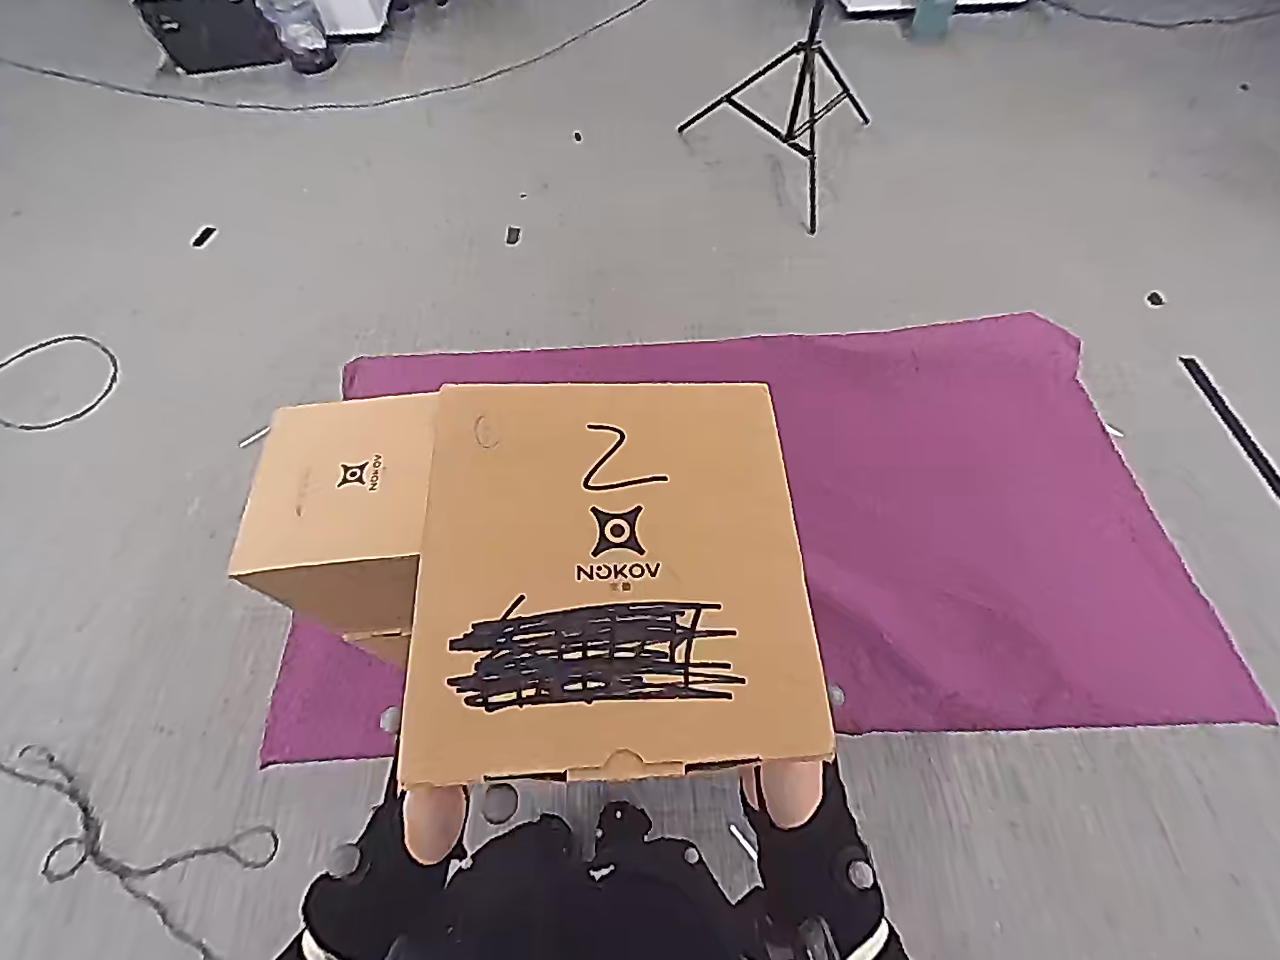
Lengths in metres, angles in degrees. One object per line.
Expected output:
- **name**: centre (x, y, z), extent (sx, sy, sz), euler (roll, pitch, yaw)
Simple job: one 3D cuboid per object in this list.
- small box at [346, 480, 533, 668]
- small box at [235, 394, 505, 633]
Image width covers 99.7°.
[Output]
- **small box**: centre (-0.231, 0.121, 0.670), extent (0.168, 0.176, 0.179), euler (-6, 60, -2)
- **small box**: centre (-0.235, 0.039, 0.529), extent (0.179, 0.176, 0.168), euler (-7, 59, -2)
